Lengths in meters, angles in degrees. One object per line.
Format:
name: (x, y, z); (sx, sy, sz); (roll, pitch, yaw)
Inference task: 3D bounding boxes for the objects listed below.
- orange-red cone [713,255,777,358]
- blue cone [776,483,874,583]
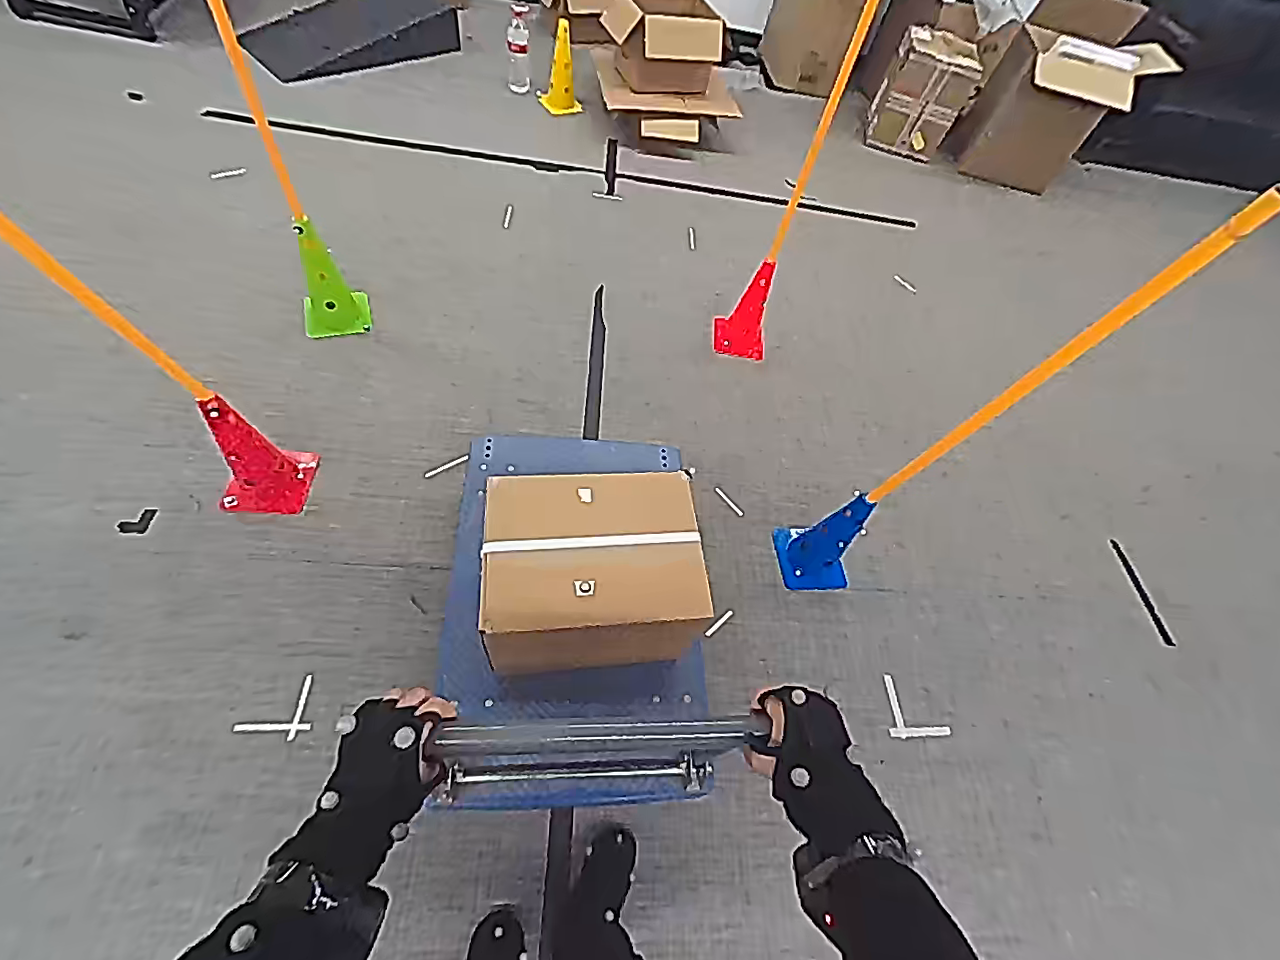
orange-red cone: (0.413, -0.648, 1.950); (0.199, 0.360, 0.198); (11, 57, -5)
blue cone: (0.541, 0.132, 1.496); (0.193, 0.380, 0.192); (2, 57, -10)
